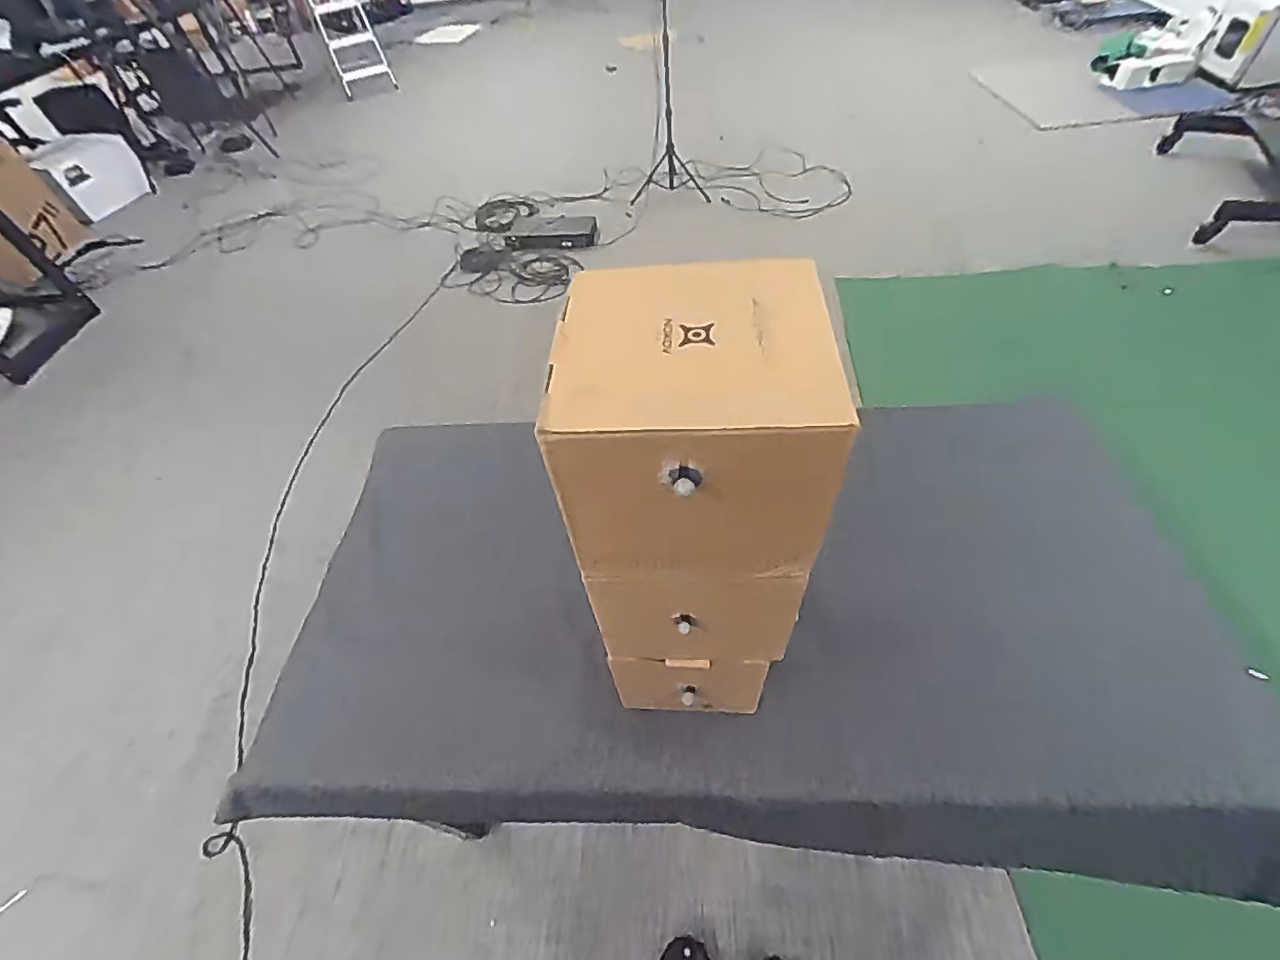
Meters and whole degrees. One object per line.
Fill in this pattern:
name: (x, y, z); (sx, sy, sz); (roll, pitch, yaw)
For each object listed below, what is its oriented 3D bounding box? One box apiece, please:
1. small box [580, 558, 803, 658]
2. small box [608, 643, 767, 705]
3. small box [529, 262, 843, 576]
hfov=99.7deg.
small box: (0.051, 0.064, 0.529); (0.179, 0.176, 0.168); (-2, 51, 7)
small box: (0.062, 0.164, 0.660); (0.168, 0.176, 0.179); (-1, 52, 6)
small box: (0.034, -0.038, 0.404); (0.179, 0.176, 0.168); (-2, 52, 5)
